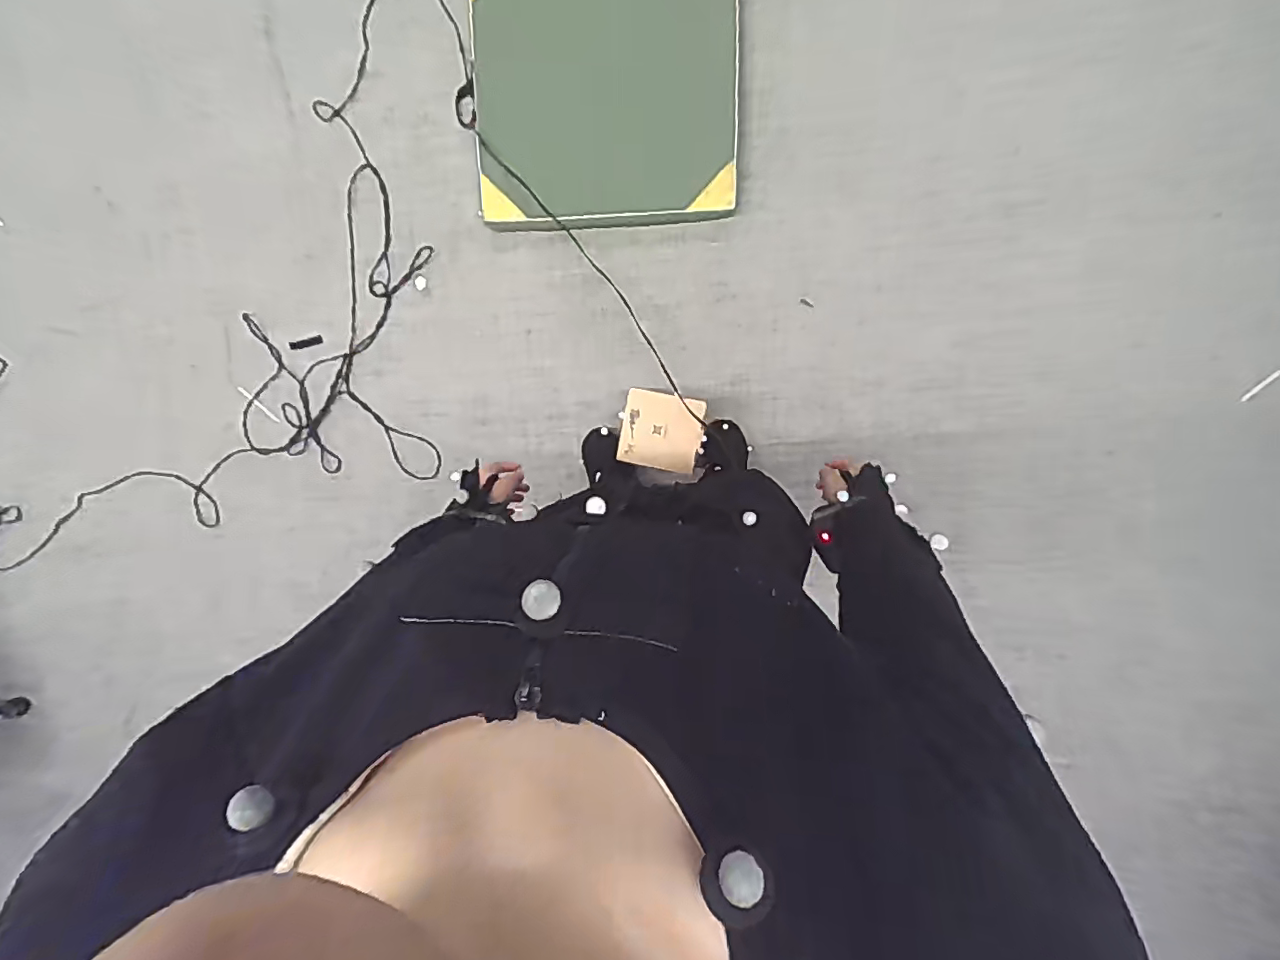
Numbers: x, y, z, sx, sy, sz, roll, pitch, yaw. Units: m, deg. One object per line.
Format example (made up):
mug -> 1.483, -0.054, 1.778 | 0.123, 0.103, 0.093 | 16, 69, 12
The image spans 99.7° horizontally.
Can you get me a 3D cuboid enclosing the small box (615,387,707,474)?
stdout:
small box -> 0.051, -0.119, 1.260 | 0.179, 0.176, 0.168 | 12, 98, 3
